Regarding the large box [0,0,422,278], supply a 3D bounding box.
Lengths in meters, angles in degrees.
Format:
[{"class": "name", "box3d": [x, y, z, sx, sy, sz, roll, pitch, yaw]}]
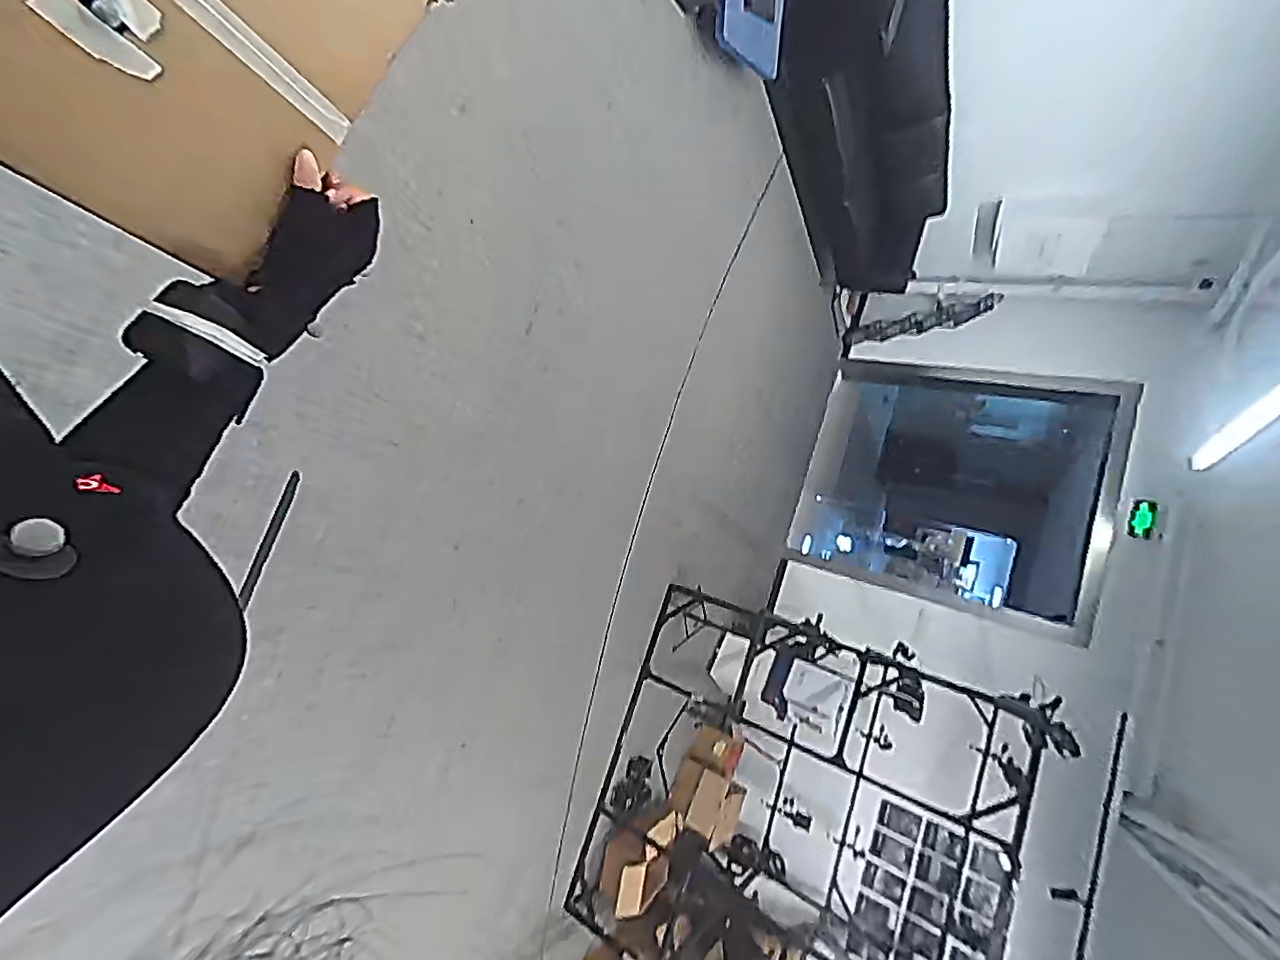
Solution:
[{"class": "large box", "box3d": [-0.451, -0.417, 0.367, 0.320, 0.320, 0.408, -57, 149, 0]}]
